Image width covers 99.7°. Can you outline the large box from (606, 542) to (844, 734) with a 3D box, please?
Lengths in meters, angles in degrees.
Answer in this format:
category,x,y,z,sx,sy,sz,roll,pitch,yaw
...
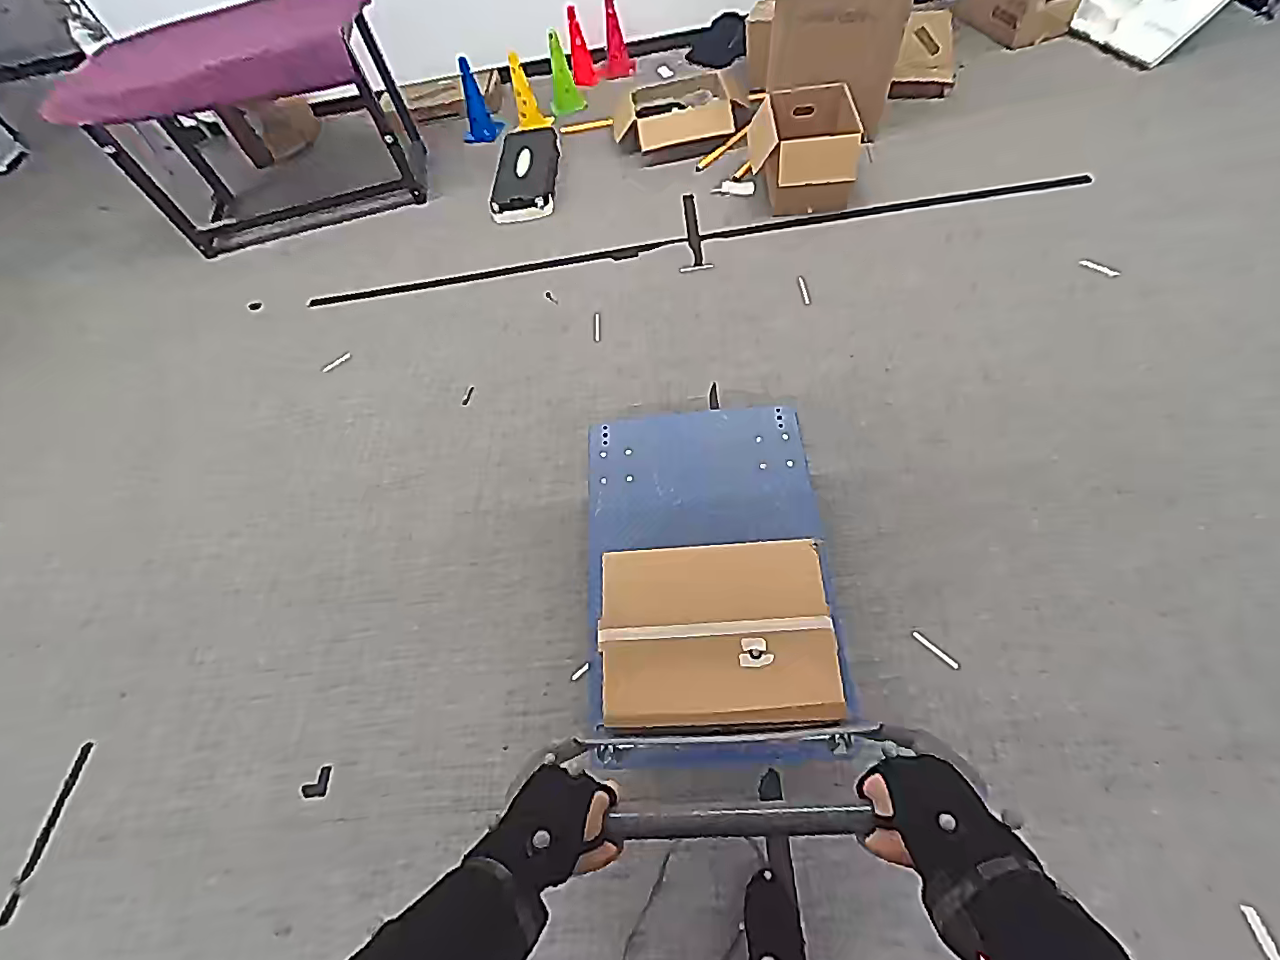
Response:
category,x,y,z,sx,sy,sz,roll,pitch,yaw
large box,0.152,0.339,1.112,0.408,0.320,0.320,-5,64,4
